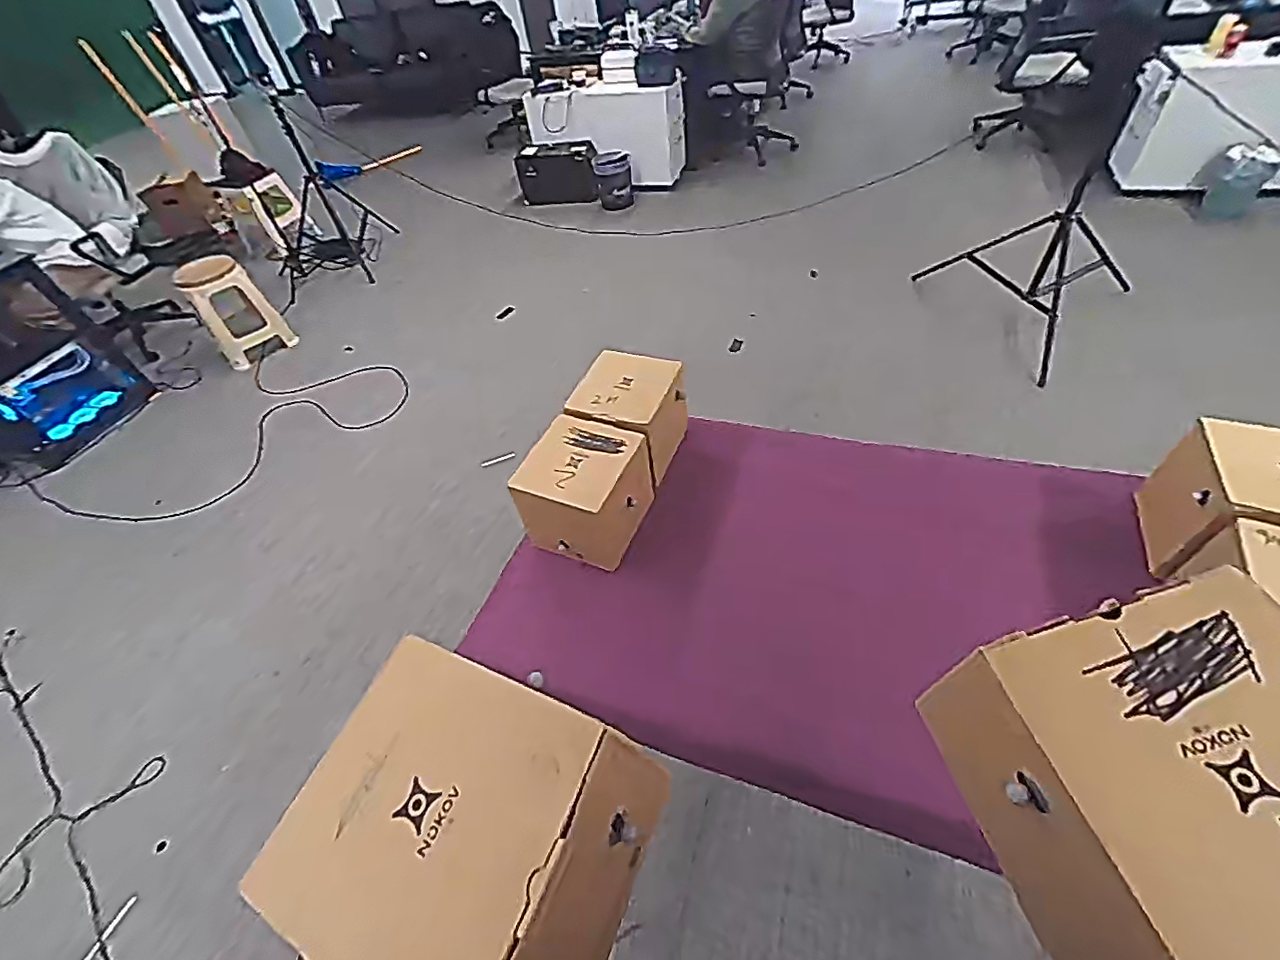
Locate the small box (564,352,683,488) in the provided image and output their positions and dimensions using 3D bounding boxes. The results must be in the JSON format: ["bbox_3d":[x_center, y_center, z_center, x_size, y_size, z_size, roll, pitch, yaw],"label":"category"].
[{"bbox_3d":[-0.021,-0.115,1.031,0.168,0.176,0.179,14,53,20],"label":"small box"}]

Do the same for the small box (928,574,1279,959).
[{"bbox_3d":[0.320,0.190,0.346,0.168,0.176,0.179,-18,56,1],"label":"small box"}]

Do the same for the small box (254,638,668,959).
[{"bbox_3d":[-0.098,0.239,0.376,0.179,0.176,0.168,11,58,27],"label":"small box"}]

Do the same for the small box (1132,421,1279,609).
[{"bbox_3d":[0.841,0.049,0.760,0.168,0.176,0.179,14,51,19],"label":"small box"}]
